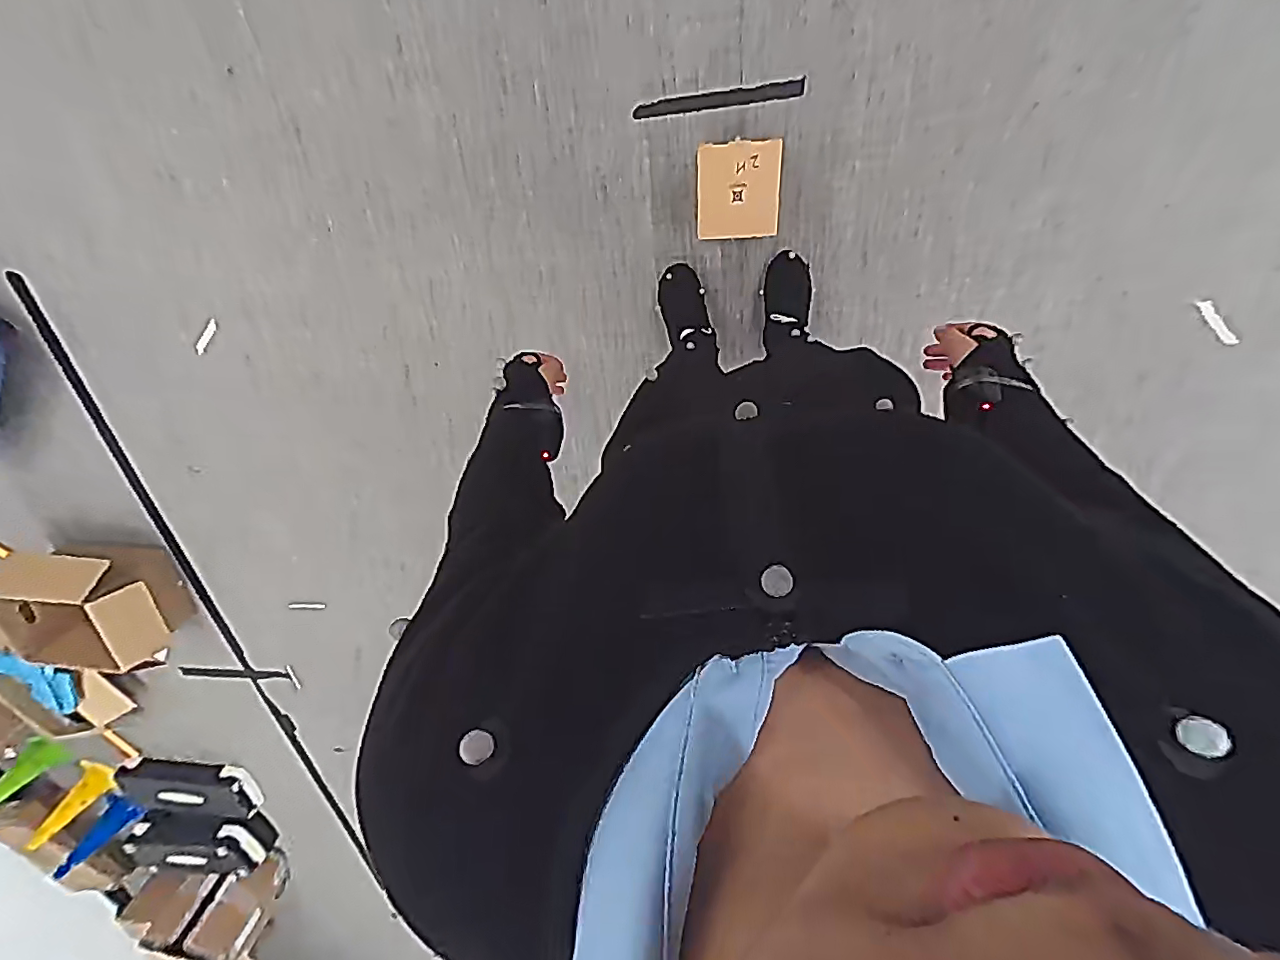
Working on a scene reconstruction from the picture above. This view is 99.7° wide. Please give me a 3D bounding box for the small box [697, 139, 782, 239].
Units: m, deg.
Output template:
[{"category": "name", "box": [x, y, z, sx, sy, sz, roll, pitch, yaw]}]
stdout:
[{"category": "small box", "box": [0.208, -0.623, 1.162, 0.168, 0.176, 0.179, 1, 118, 7]}]
